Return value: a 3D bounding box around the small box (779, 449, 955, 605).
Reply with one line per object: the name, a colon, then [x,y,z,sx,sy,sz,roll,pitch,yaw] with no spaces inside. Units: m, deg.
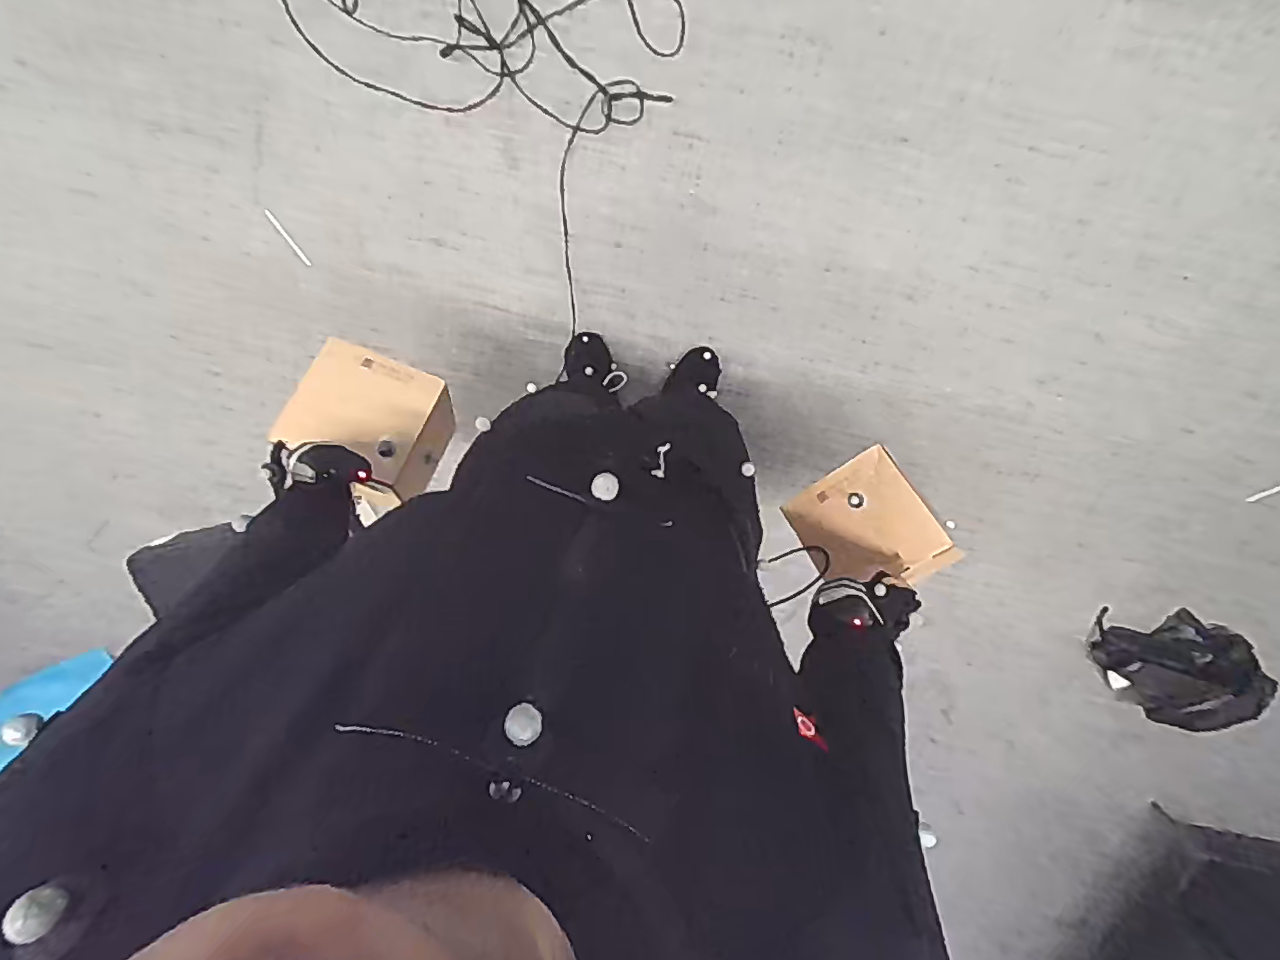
small box: [0.338,0.072,0.808,0.168,0.179,0.176,-36,63,23]
